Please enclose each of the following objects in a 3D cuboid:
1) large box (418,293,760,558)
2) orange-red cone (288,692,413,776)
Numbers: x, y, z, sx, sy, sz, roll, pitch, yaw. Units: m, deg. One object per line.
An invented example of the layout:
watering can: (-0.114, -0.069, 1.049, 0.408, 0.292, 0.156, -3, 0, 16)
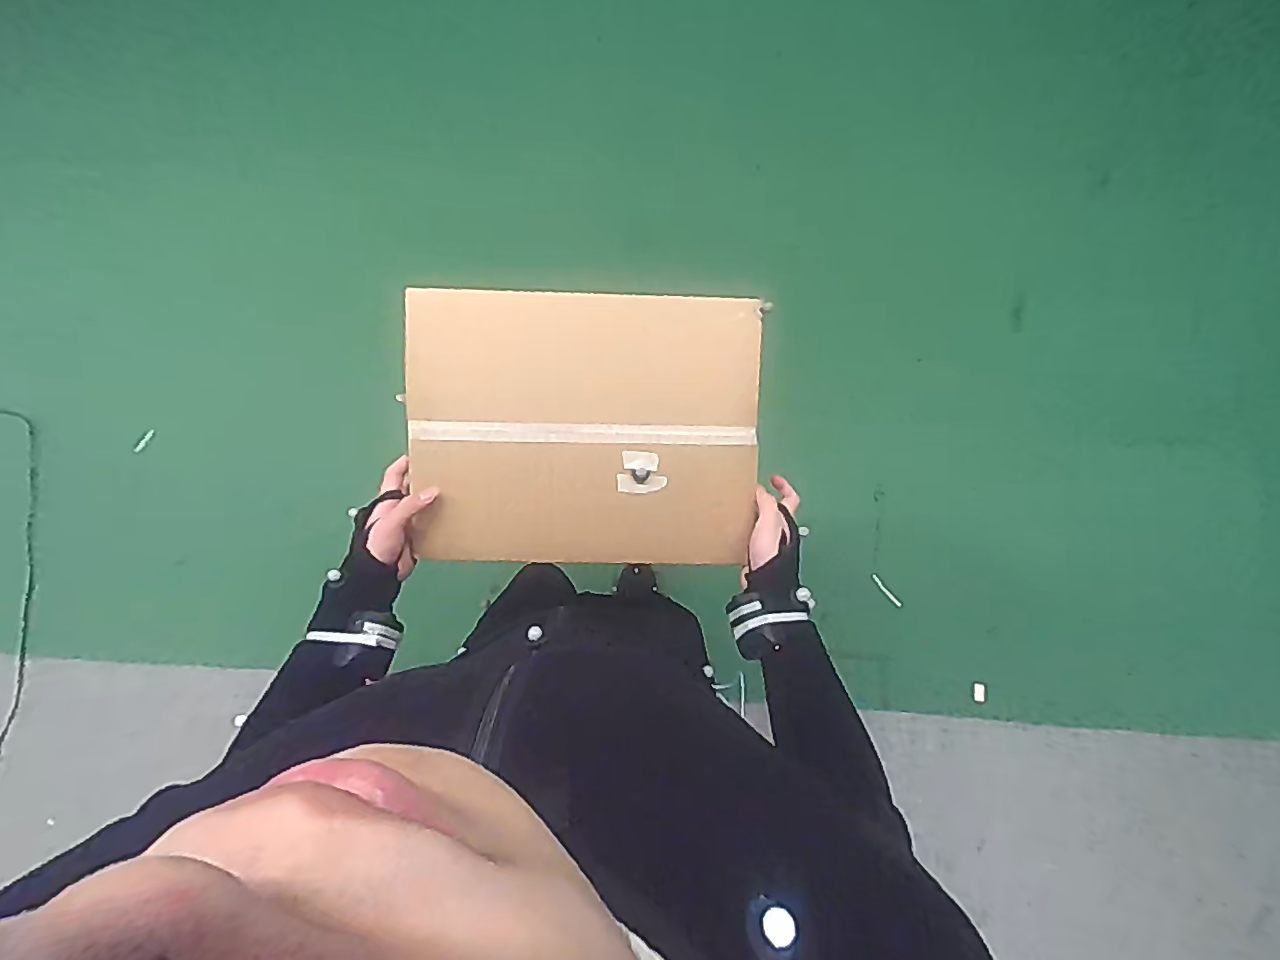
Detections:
large box: (-0.065, -0.075, 0.788, 0.408, 0.320, 0.320, 1, 97, -3)
orange-red cone: (-0.778, 0.692, 1.396, 0.199, 0.360, 0.198, 10, 78, 4)
